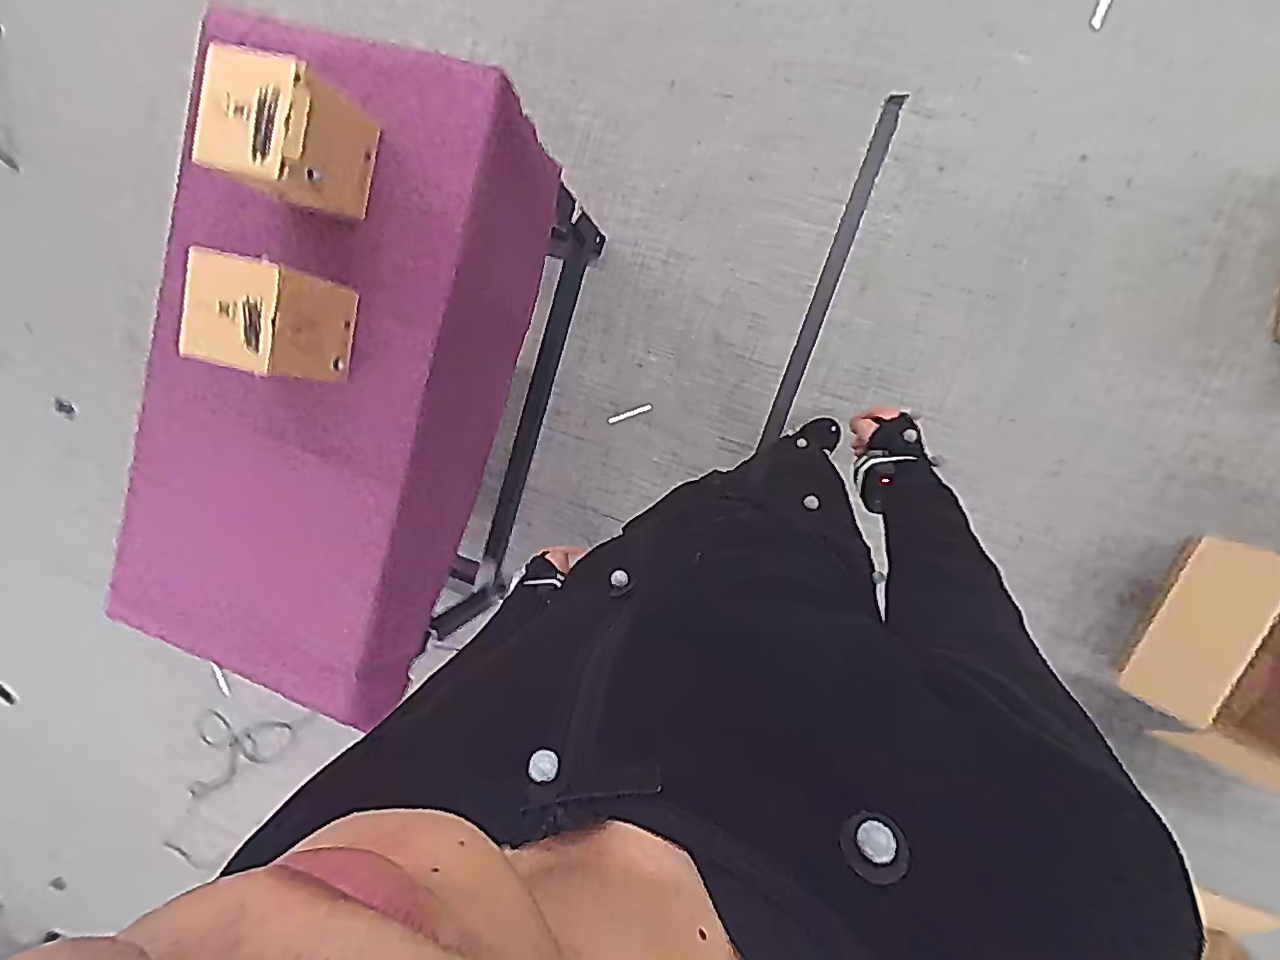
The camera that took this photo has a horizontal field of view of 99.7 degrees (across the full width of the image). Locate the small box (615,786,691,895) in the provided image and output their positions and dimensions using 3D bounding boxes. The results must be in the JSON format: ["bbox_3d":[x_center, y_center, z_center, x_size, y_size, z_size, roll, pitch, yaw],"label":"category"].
[{"bbox_3d":[0.045,1.049,1.593,0.168,0.176,0.179,20,99,11],"label":"small box"}]

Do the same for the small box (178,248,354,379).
[{"bbox_3d":[-0.620,-0.269,0.912,0.179,0.176,0.168,14,98,11],"label":"small box"}]
